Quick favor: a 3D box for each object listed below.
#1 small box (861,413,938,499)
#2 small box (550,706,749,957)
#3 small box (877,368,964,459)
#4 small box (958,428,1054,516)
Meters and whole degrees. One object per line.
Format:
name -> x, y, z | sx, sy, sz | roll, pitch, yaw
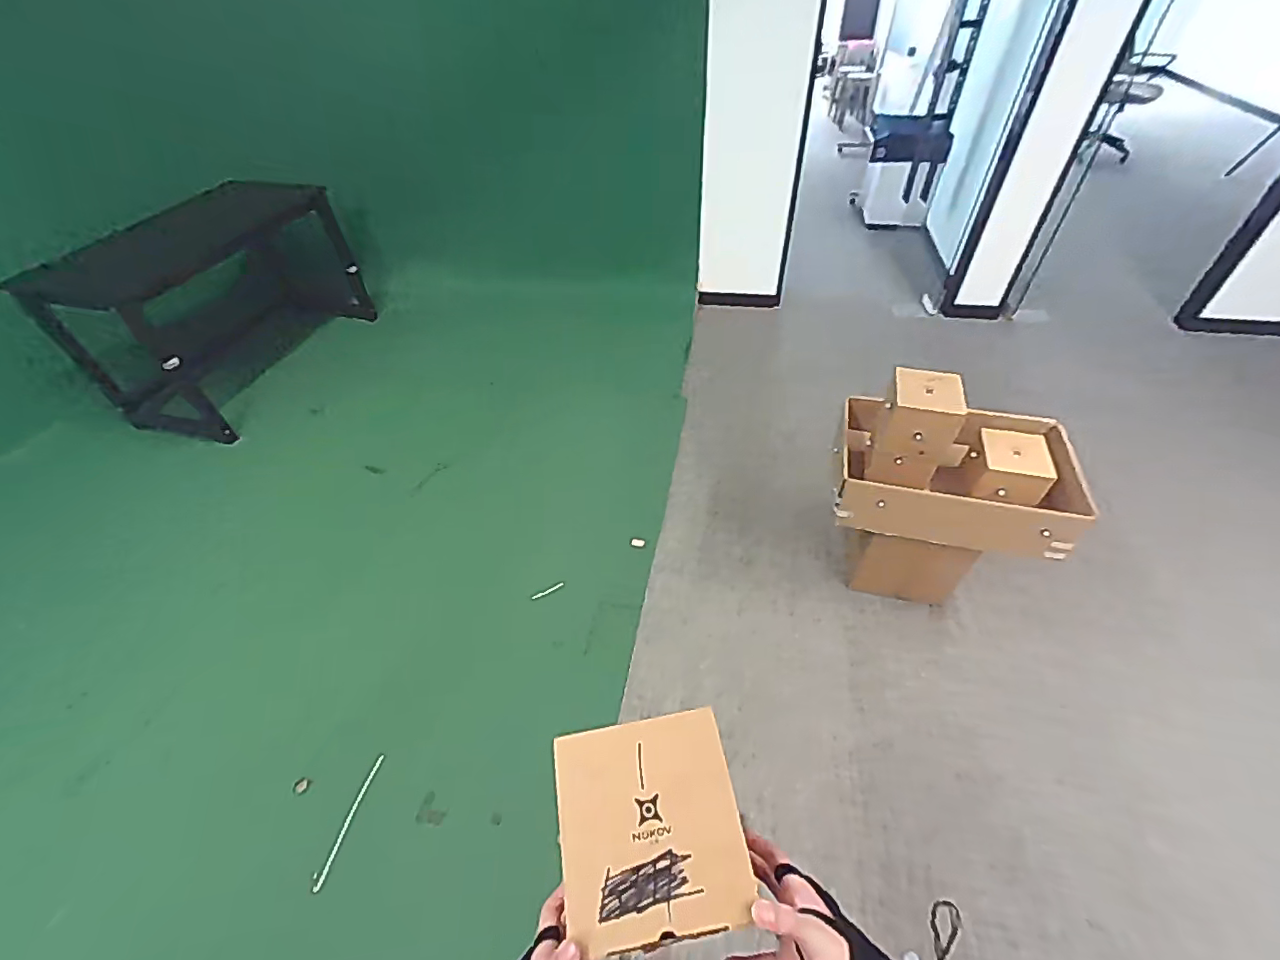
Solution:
small box -> 0.763, -0.072, 1.599 | 0.168, 0.176, 0.179 | 11, 47, 15
small box -> 0.007, 0.357, 0.560 | 0.168, 0.176, 0.179 | -9, 52, -2
small box -> 0.757, -0.179, 1.475 | 0.168, 0.176, 0.179 | 11, 48, 12
small box -> 1.030, -0.021, 1.539 | 0.168, 0.176, 0.179 | 10, 47, 13
